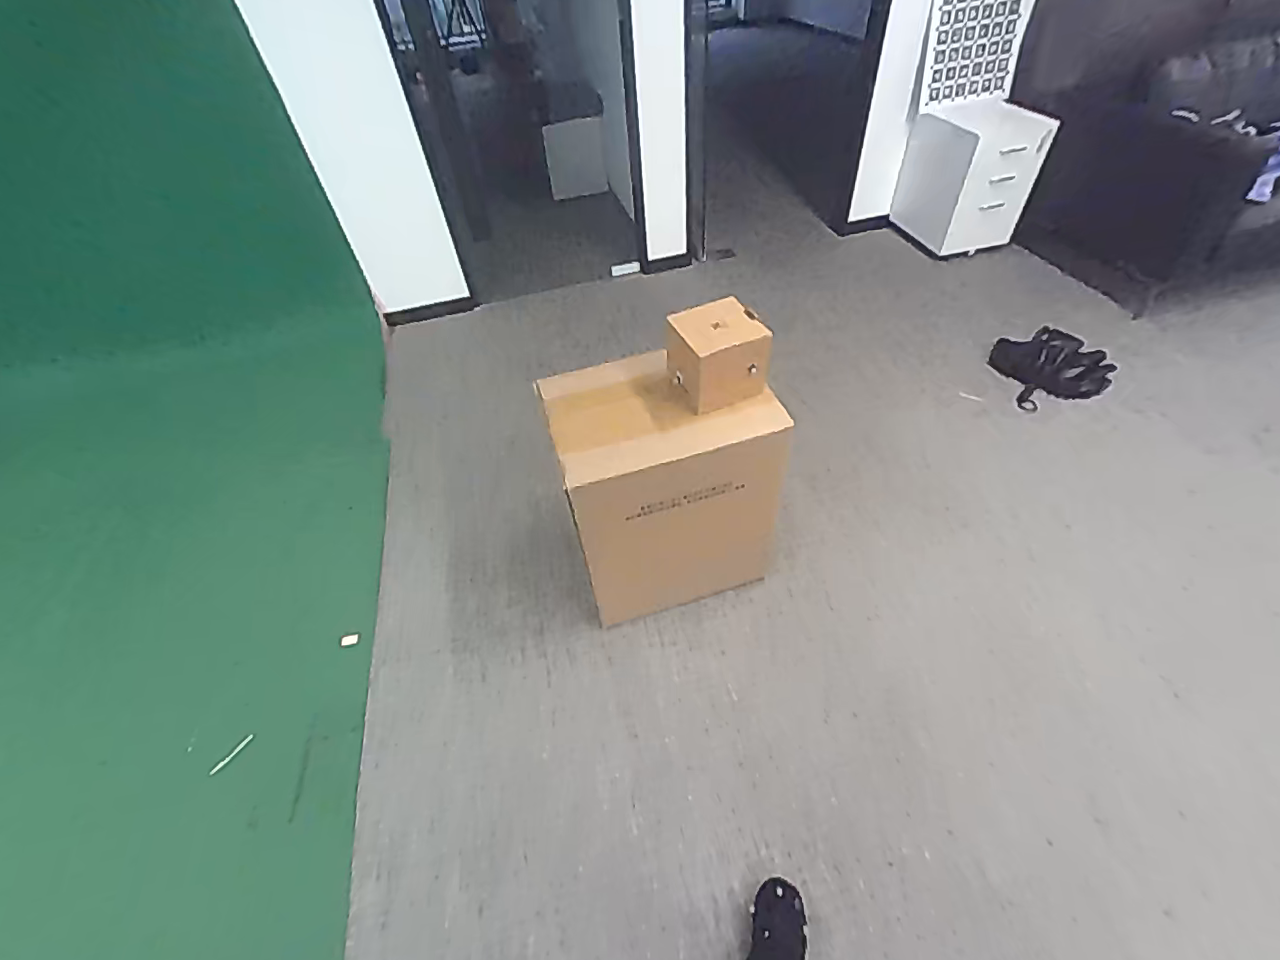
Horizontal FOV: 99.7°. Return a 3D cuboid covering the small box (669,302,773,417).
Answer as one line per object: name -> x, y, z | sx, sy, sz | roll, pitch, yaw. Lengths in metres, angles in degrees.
small box -> 0.179, -0.274, 1.241 | 0.179, 0.176, 0.168 | -22, 52, -12
